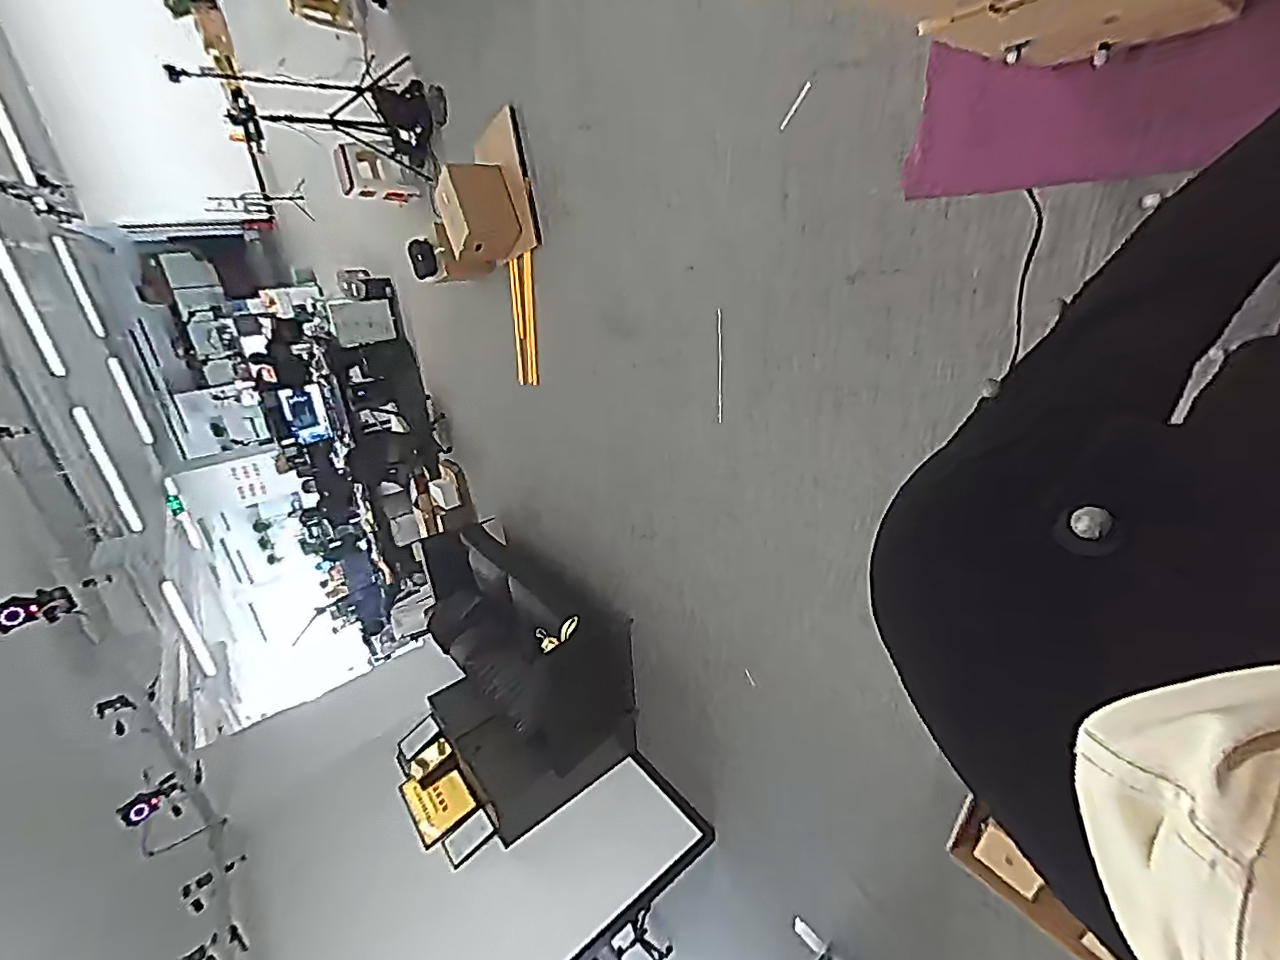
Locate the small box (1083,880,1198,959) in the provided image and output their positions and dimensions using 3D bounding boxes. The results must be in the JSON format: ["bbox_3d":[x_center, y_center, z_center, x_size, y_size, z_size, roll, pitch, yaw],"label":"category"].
[{"bbox_3d":[1.357,1.251,1.466,0.168,0.176,0.179,30,131,44],"label":"small box"}]

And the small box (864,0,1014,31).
[{"bbox_3d":[0.231,-0.445,0.358,0.168,0.176,0.179,23,124,49],"label":"small box"}]

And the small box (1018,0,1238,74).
[{"bbox_3d":[0.488,-0.540,0.538,0.168,0.176,0.179,23,125,48],"label":"small box"}]

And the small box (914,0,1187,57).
[{"bbox_3d":[0.360,-0.485,0.451,0.168,0.176,0.179,23,124,48],"label":"small box"}]

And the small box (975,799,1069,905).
[{"bbox_3d":[1.177,1.140,1.666,0.168,0.176,0.179,31,131,43],"label":"small box"}]
